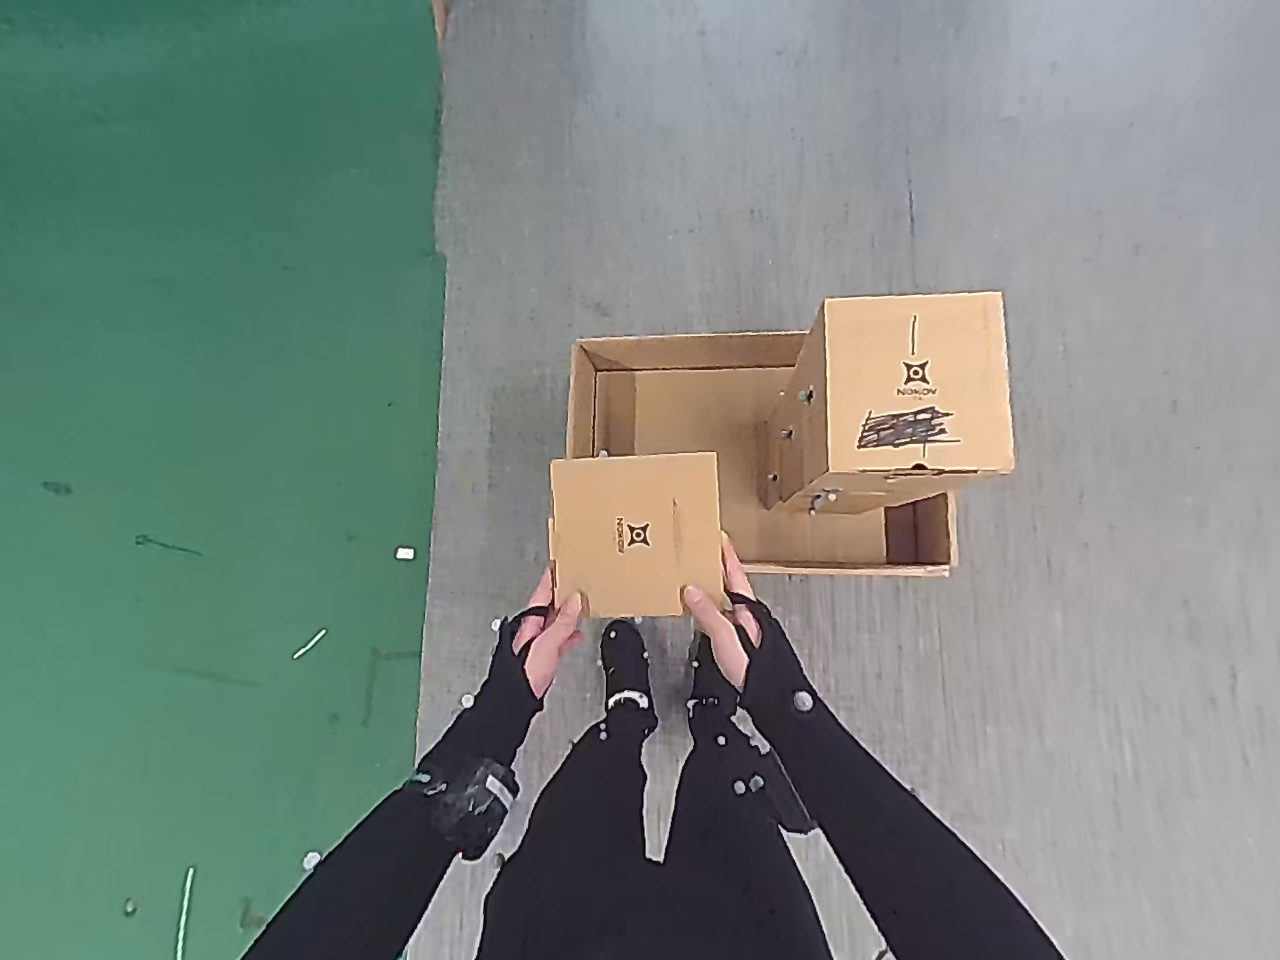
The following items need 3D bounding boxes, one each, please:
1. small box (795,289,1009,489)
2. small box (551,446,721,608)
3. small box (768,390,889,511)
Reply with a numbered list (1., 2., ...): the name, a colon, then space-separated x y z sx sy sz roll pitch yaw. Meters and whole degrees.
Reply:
1. small box: 0.267 -0.084 0.589 0.168 0.176 0.179 0 81 7
2. small box: 0.004 0.054 0.634 0.179 0.176 0.168 -2 87 6
3. small box: 0.307 -0.044 0.912 0.168 0.176 0.179 1 83 8
